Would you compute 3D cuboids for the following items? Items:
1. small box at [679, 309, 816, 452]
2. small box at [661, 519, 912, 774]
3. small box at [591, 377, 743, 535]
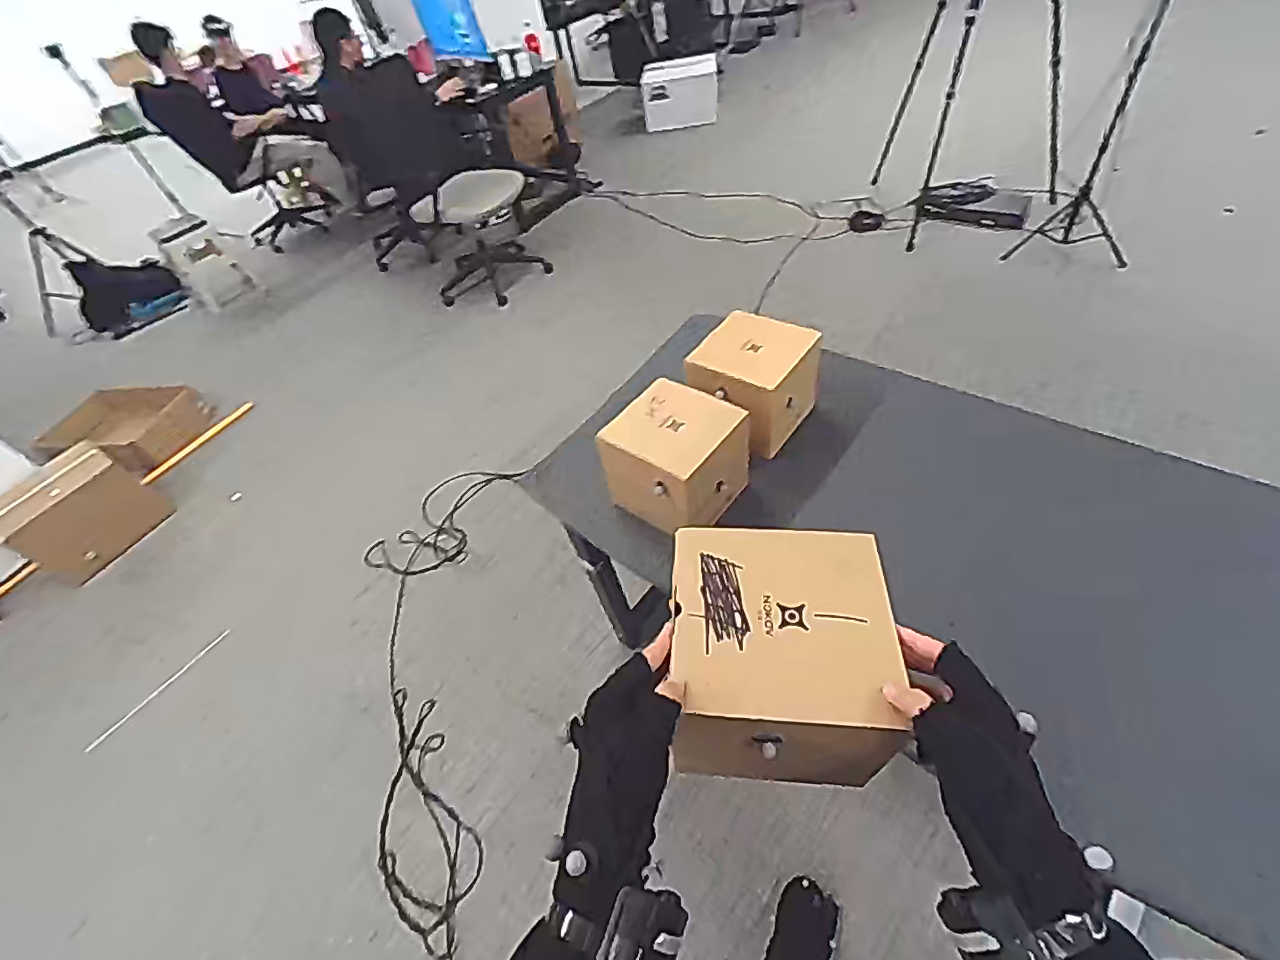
[{"bbox_3d":[0.196,-0.174,0.974,0.179,0.176,0.168,26,60,31],"label":"small box"},{"bbox_3d":[0.115,0.152,0.489,0.179,0.176,0.168,2,49,6],"label":"small box"},{"bbox_3d":[0.052,-0.032,0.877,0.179,0.176,0.168,27,59,30],"label":"small box"}]
